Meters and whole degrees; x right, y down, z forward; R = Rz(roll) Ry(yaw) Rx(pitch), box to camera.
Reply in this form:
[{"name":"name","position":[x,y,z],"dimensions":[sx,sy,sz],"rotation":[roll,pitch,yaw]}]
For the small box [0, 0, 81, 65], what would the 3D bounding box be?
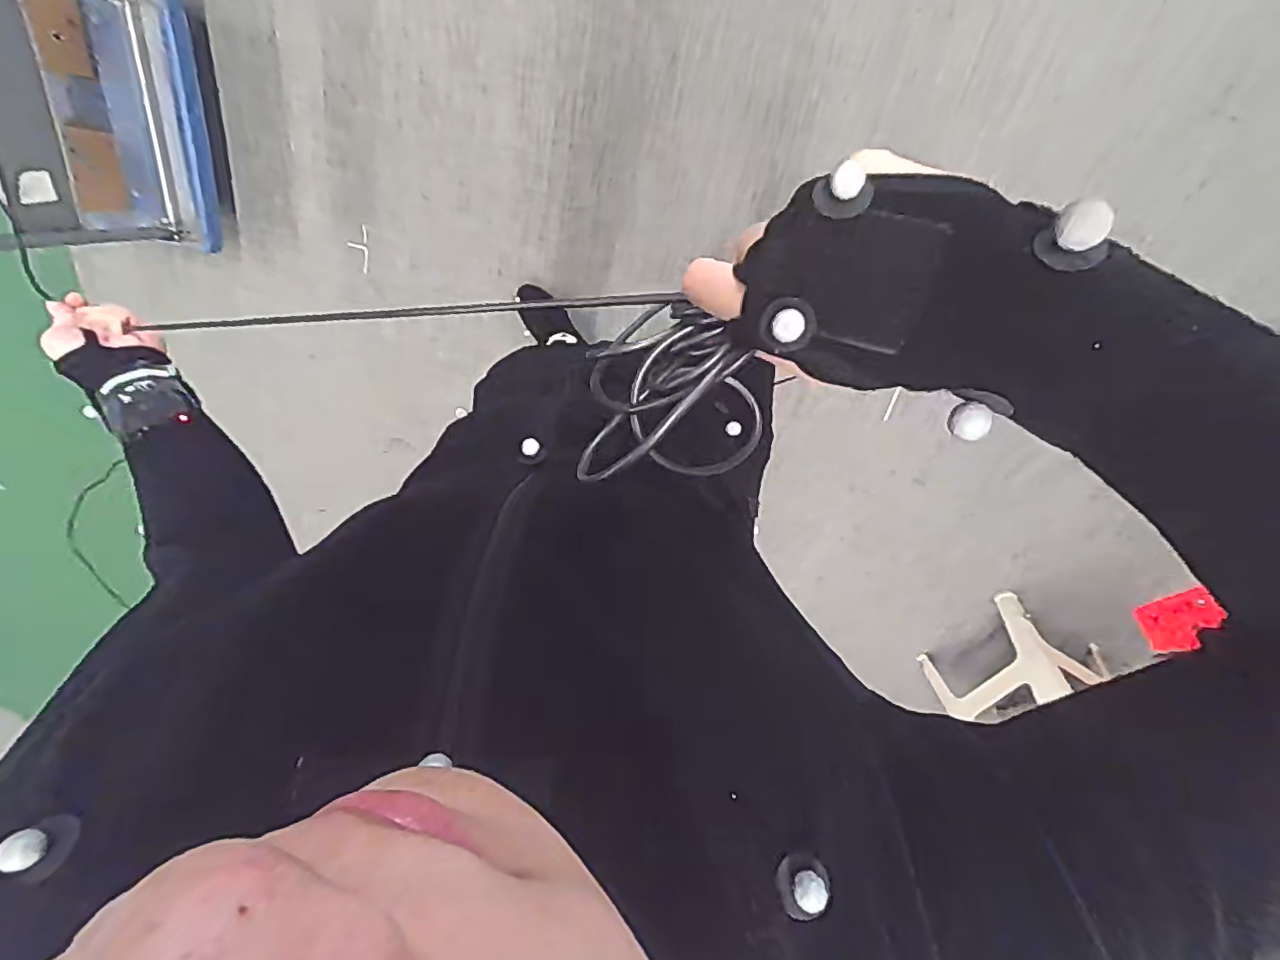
[{"name":"small box","position":[-1.357,-1.004,1.137],"dimensions":[0.179,0.176,0.168],"rotation":[15,119,1]}]
